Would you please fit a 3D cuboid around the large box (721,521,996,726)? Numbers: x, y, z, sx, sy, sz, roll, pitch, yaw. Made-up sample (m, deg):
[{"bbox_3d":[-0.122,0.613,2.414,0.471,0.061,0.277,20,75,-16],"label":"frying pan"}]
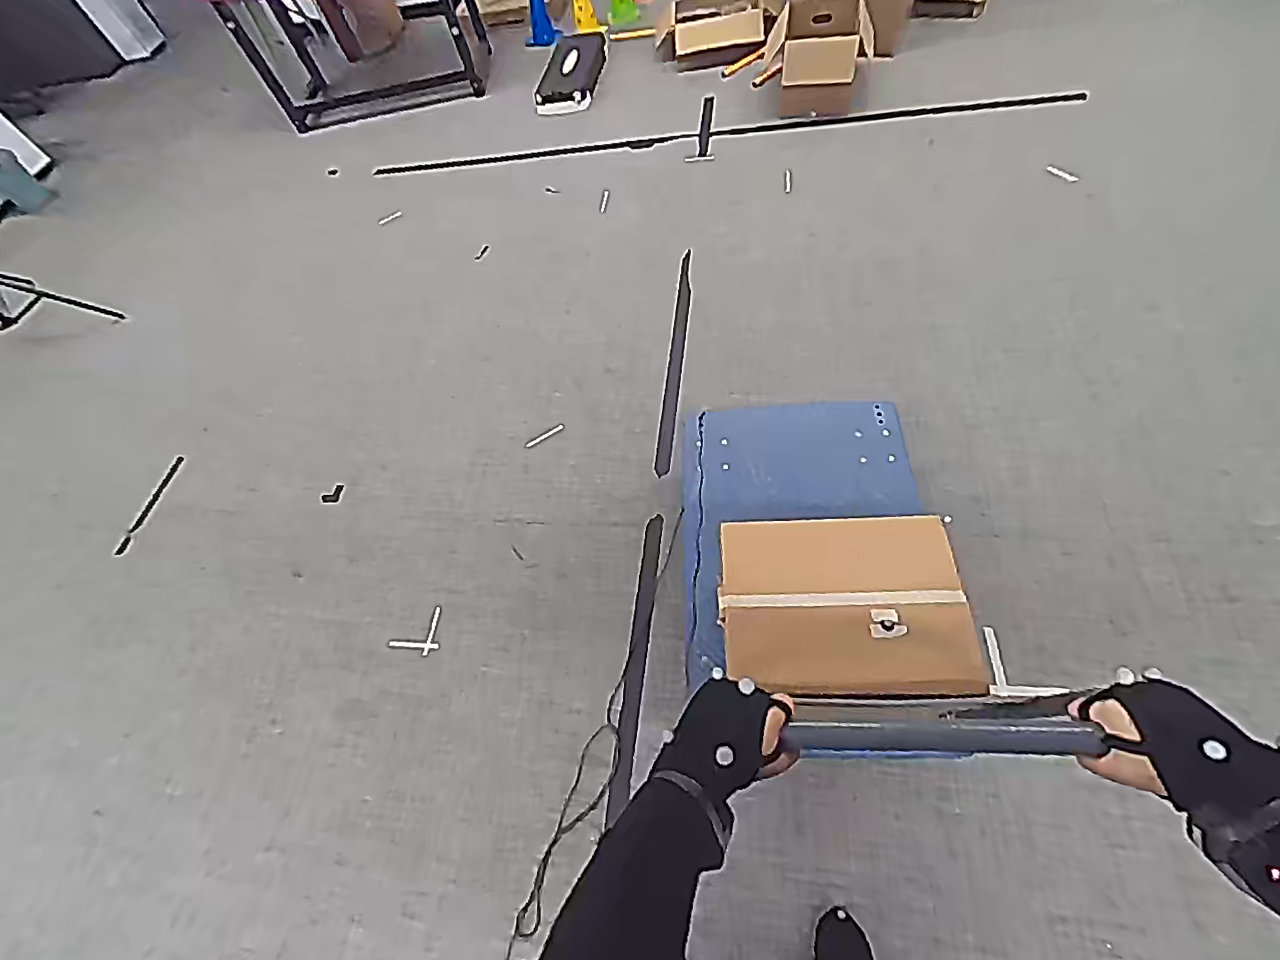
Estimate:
[{"bbox_3d":[0.370,0.291,1.048,0.408,0.320,0.320,-3,60,7],"label":"large box"}]
